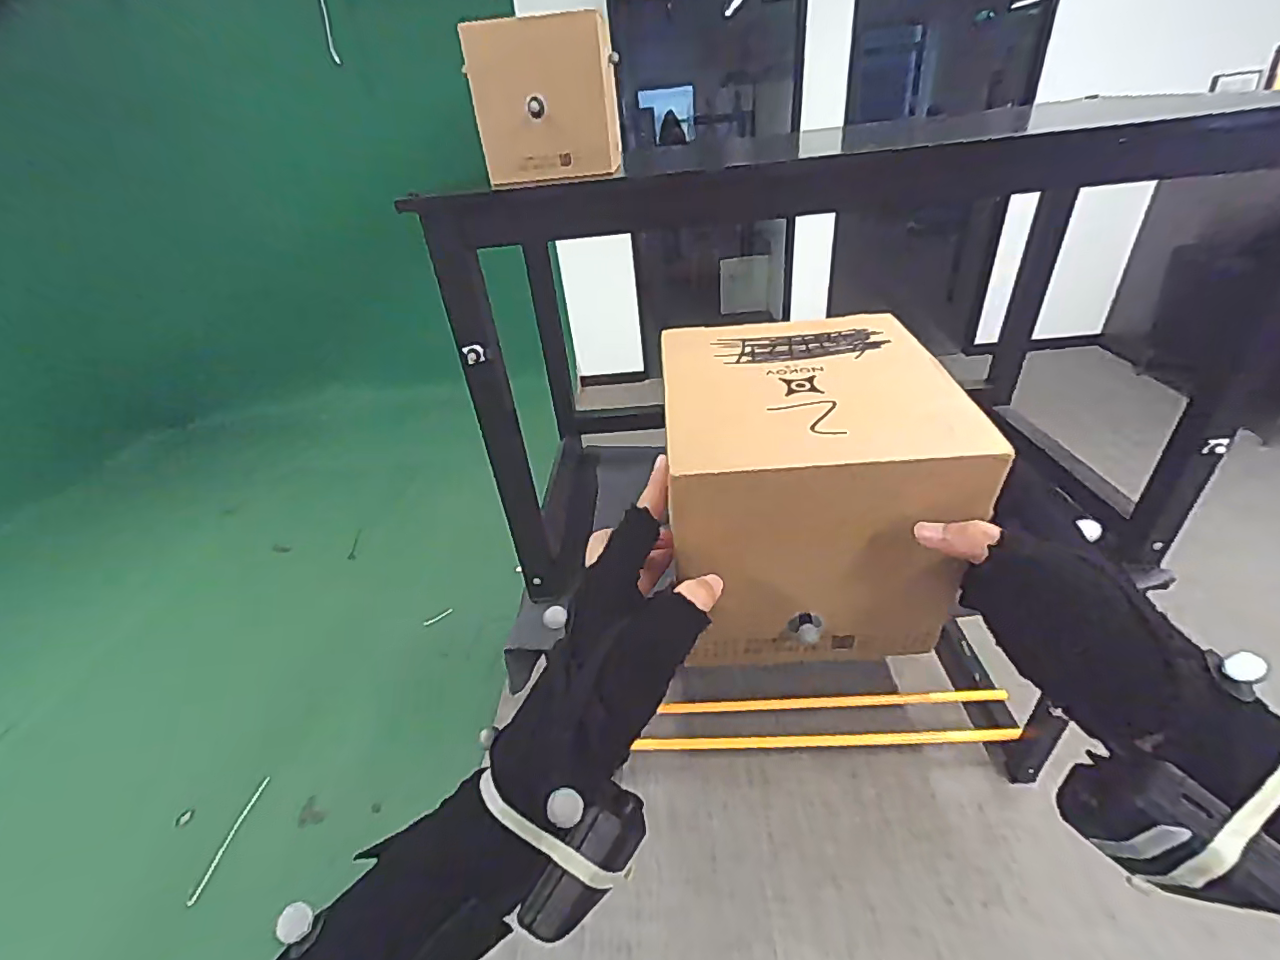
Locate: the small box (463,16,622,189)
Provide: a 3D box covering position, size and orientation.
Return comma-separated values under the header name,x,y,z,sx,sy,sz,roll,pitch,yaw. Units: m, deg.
name,x,y,z,sx,sy,sz,roll,pitch,yaw
small box,-0.118,-0.502,0.739,0.168,0.176,0.179,-3,33,4
